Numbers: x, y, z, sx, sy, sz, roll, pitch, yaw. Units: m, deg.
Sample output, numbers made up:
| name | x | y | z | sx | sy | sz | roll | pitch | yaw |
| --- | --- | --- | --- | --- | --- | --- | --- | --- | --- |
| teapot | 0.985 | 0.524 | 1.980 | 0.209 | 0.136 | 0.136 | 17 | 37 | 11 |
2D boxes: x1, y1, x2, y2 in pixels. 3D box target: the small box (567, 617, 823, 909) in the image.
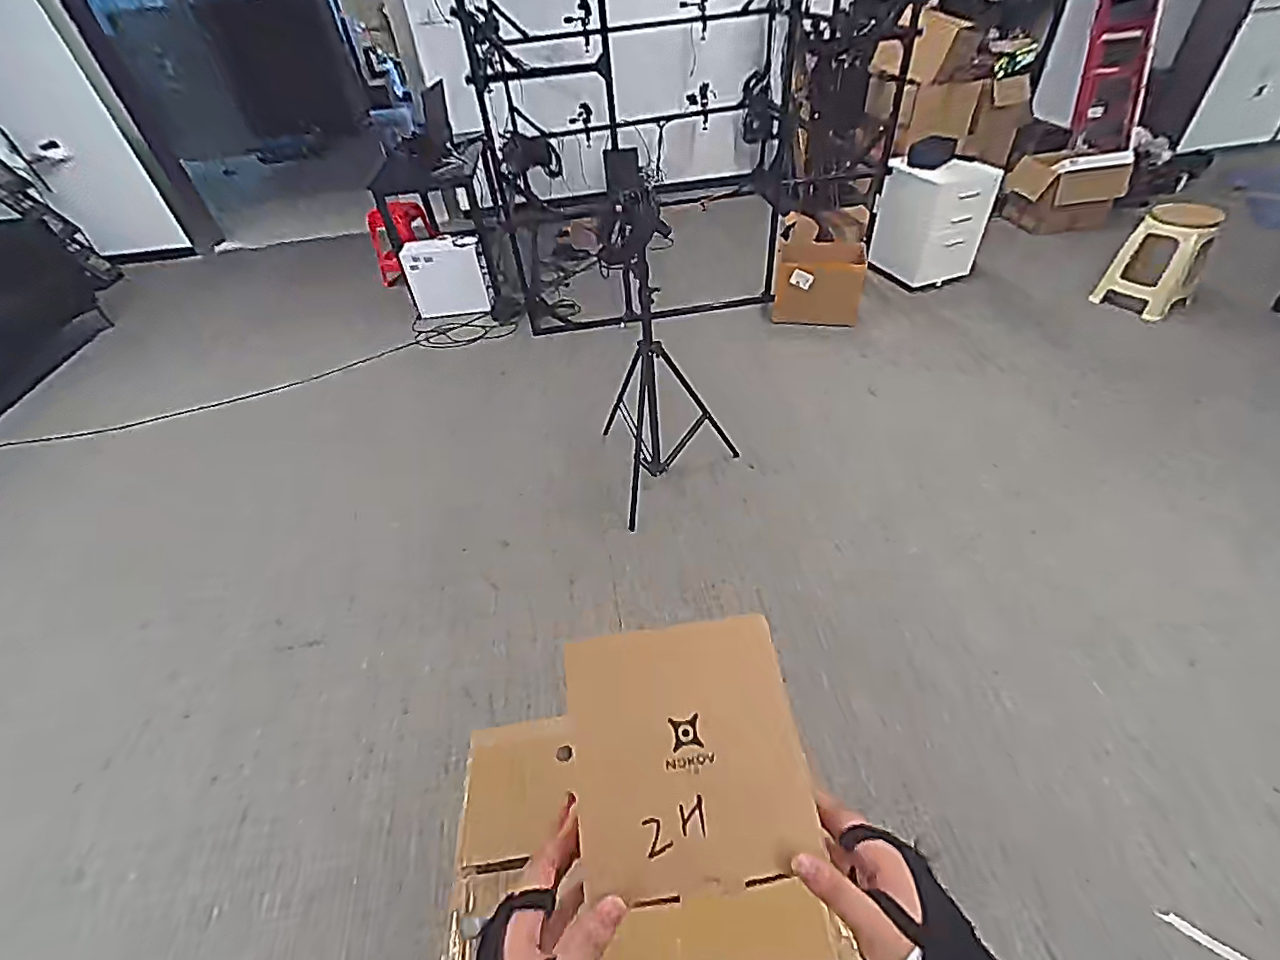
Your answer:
| name | x | y | z | sx | sy | sz | roll | pitch | yaw |
| --- | --- | --- | --- | --- | --- | --- | --- | --- | --- |
| small box | 0.028 | 0.236 | 0.466 | 0.168 | 0.176 | 0.179 | -6 | 60 | -6 |
